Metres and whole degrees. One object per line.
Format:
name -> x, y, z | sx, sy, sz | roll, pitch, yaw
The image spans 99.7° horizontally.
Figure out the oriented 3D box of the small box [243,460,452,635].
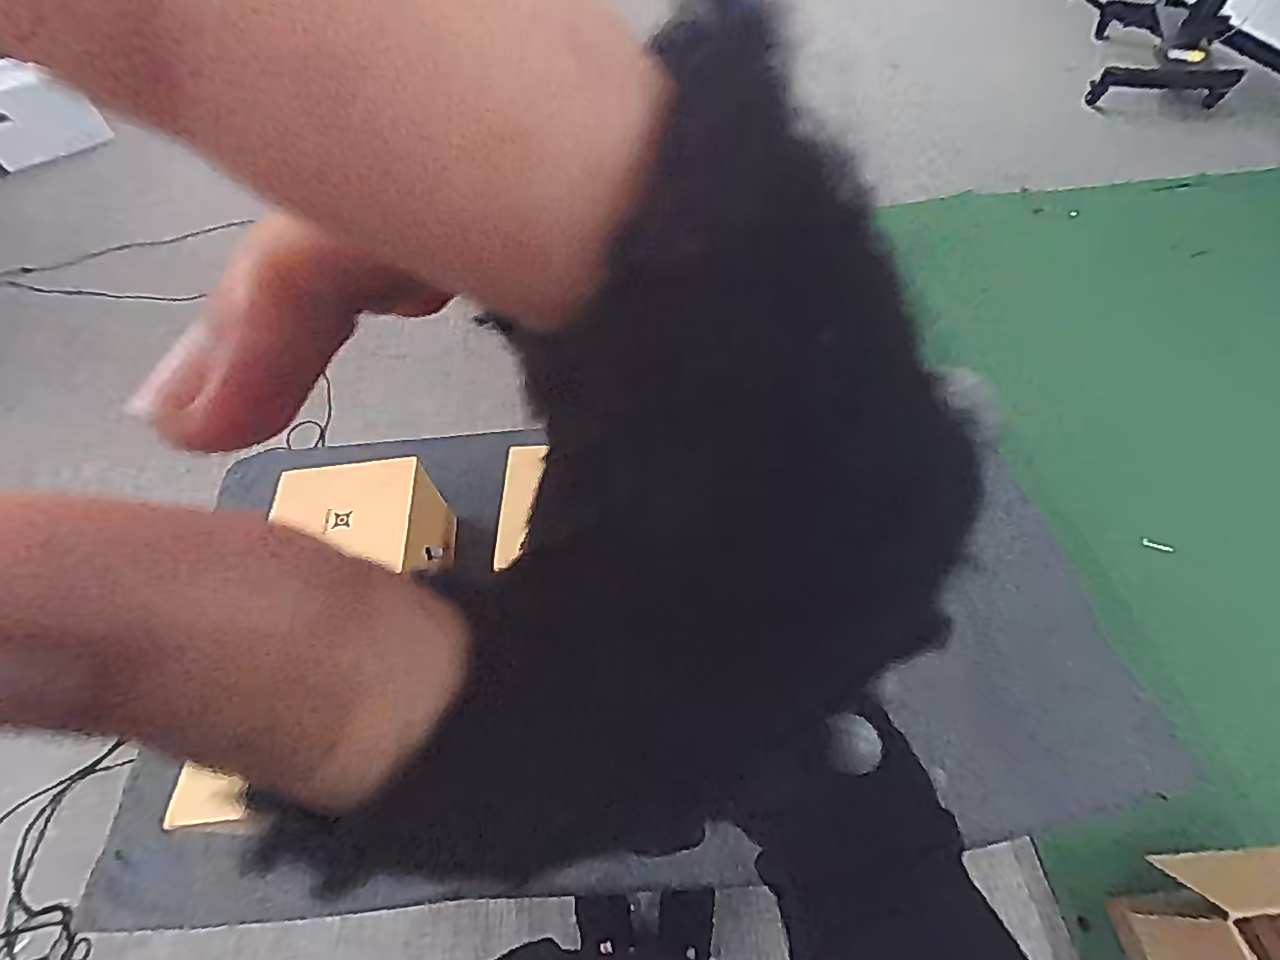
small box -> -0.363, 0.094, 0.714 | 0.179, 0.176, 0.168 | -7, 57, -1
